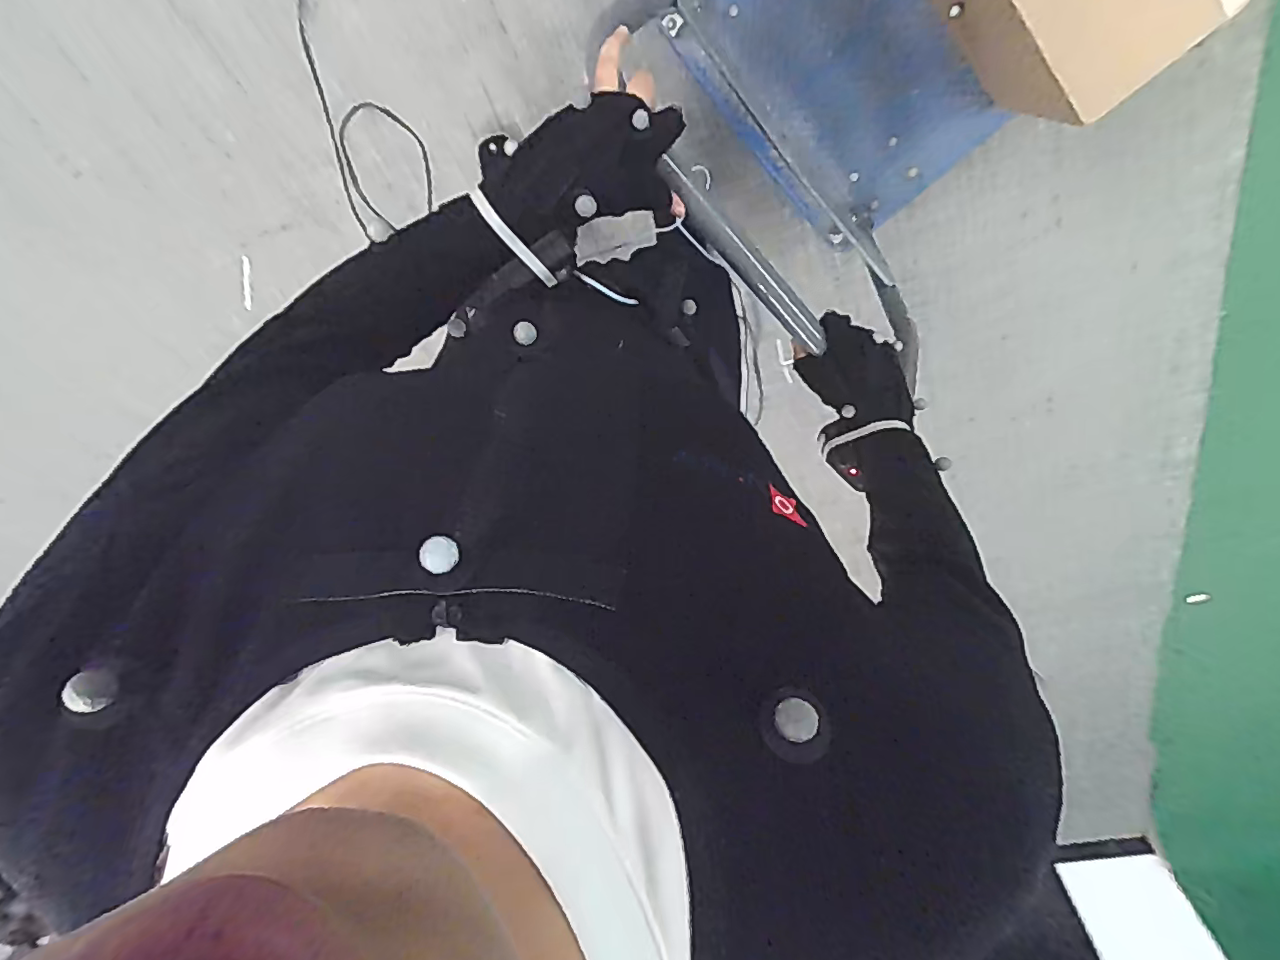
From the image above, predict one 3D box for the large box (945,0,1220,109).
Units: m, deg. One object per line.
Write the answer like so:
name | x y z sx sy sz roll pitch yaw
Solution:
large box | 0.560 -0.771 0.678 0.408 0.320 0.320 37 126 -19
